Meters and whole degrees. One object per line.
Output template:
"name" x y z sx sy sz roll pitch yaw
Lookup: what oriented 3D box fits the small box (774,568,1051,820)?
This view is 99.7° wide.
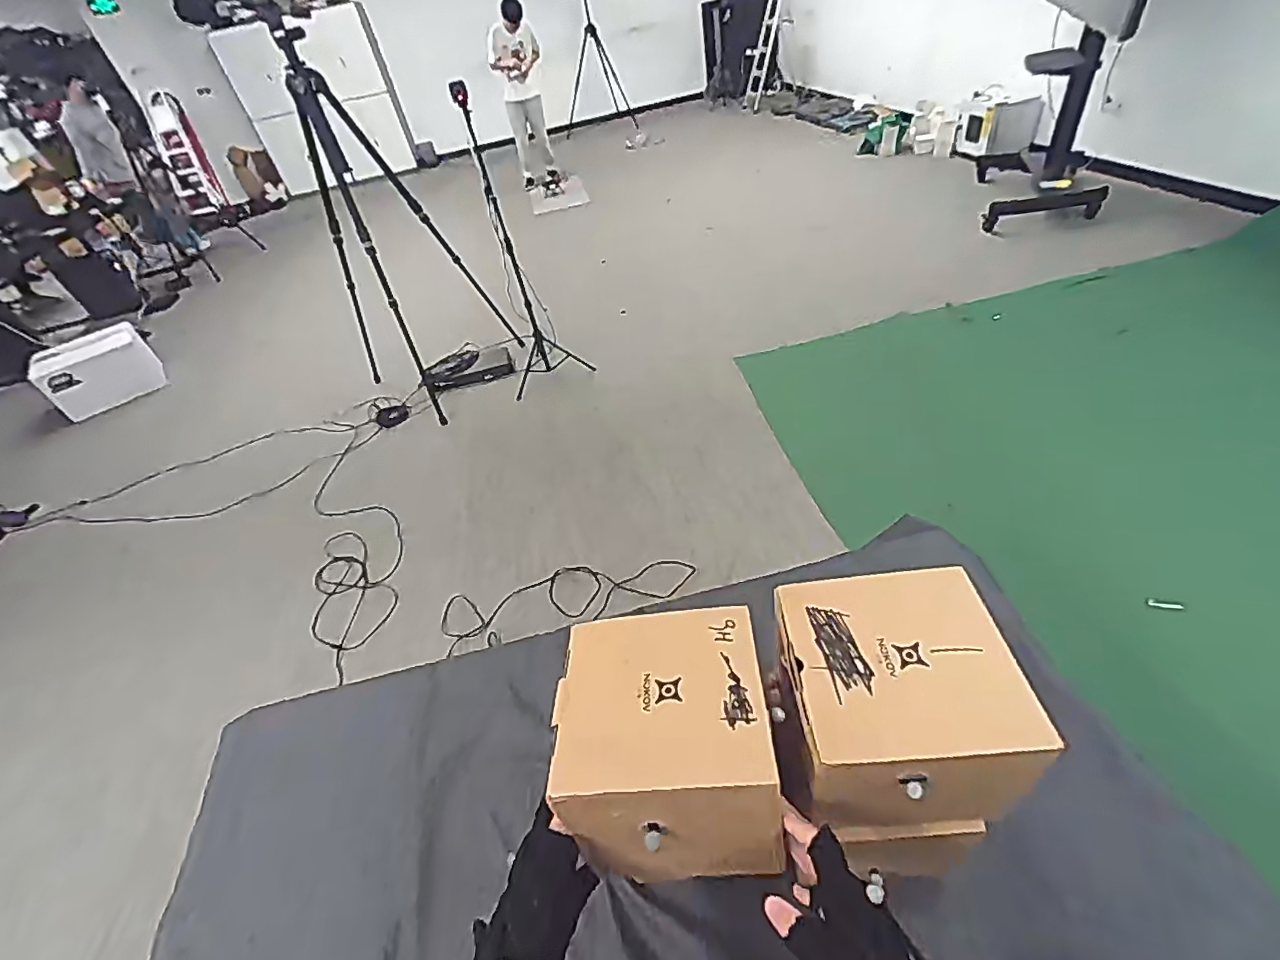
"small box" 0.229 0.206 0.513 0.179 0.176 0.168 -6 44 5
